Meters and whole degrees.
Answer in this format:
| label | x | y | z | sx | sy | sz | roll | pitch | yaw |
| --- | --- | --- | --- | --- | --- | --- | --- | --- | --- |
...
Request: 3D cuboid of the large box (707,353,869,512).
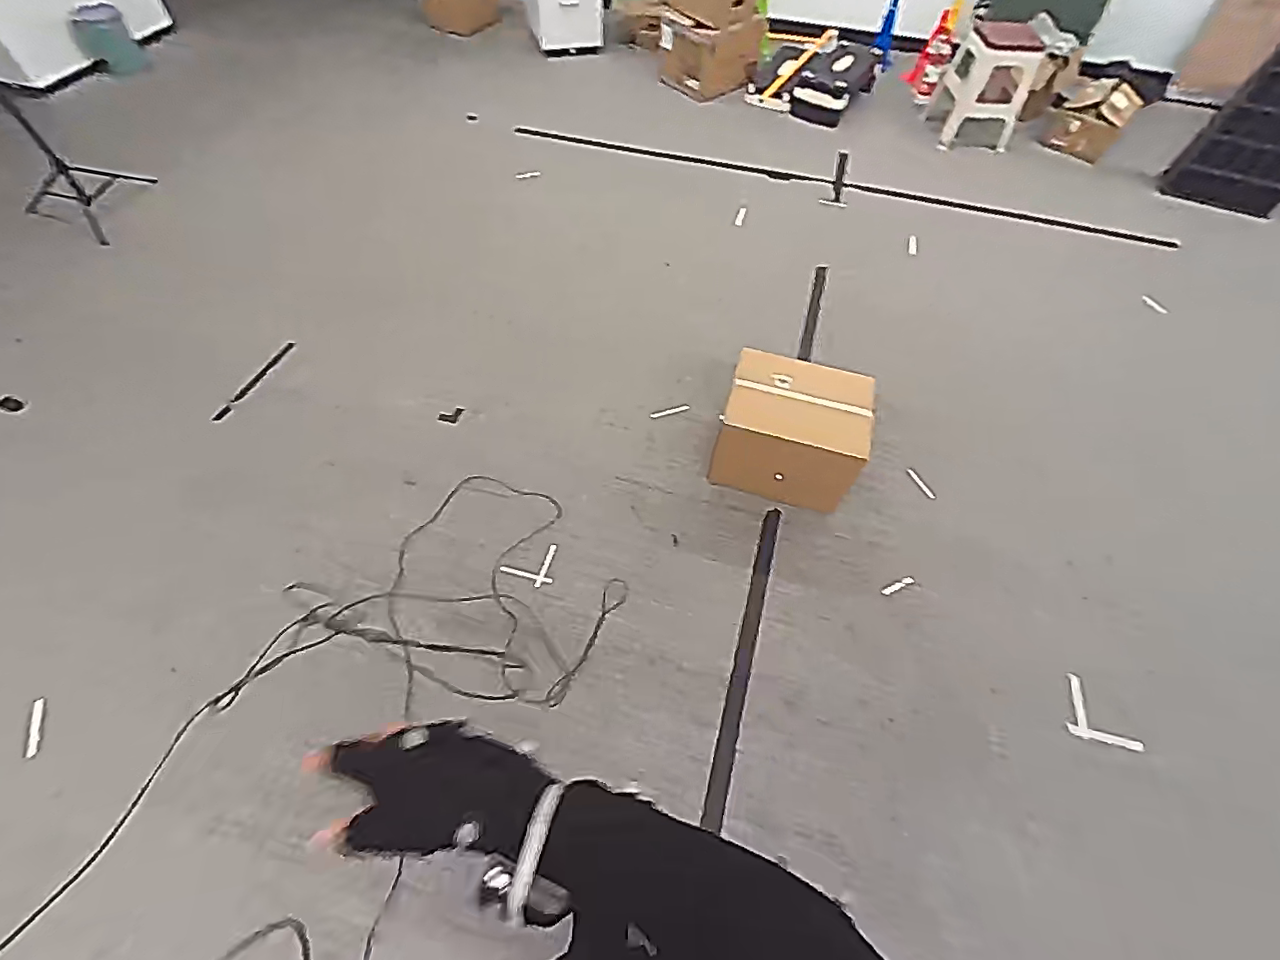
| label | x | y | z | sx | sy | sz | roll | pitch | yaw |
| --- | --- | --- | --- | --- | --- | --- | --- | --- | --- |
| large box | 0.453 | -0.142 | 1.685 | 0.408 | 0.320 | 0.320 | 15 | 58 | 8 |
